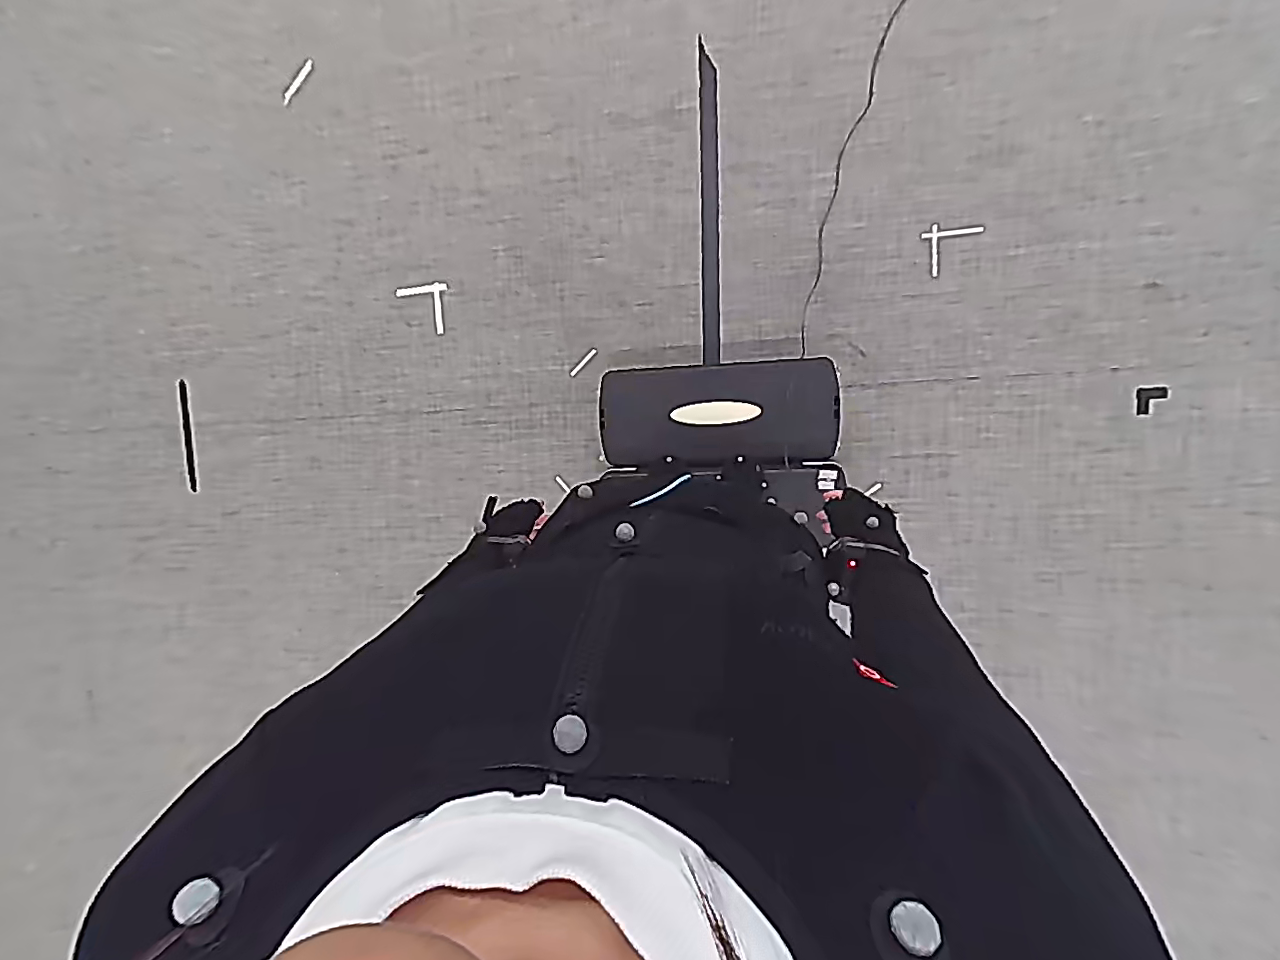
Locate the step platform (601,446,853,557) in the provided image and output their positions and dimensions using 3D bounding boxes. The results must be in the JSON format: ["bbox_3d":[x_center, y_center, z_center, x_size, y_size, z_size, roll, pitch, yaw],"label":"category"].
[{"bbox_3d":[0.232,0.062,1.515,0.684,0.204,0.286,-3,93,11],"label":"step platform"}]
